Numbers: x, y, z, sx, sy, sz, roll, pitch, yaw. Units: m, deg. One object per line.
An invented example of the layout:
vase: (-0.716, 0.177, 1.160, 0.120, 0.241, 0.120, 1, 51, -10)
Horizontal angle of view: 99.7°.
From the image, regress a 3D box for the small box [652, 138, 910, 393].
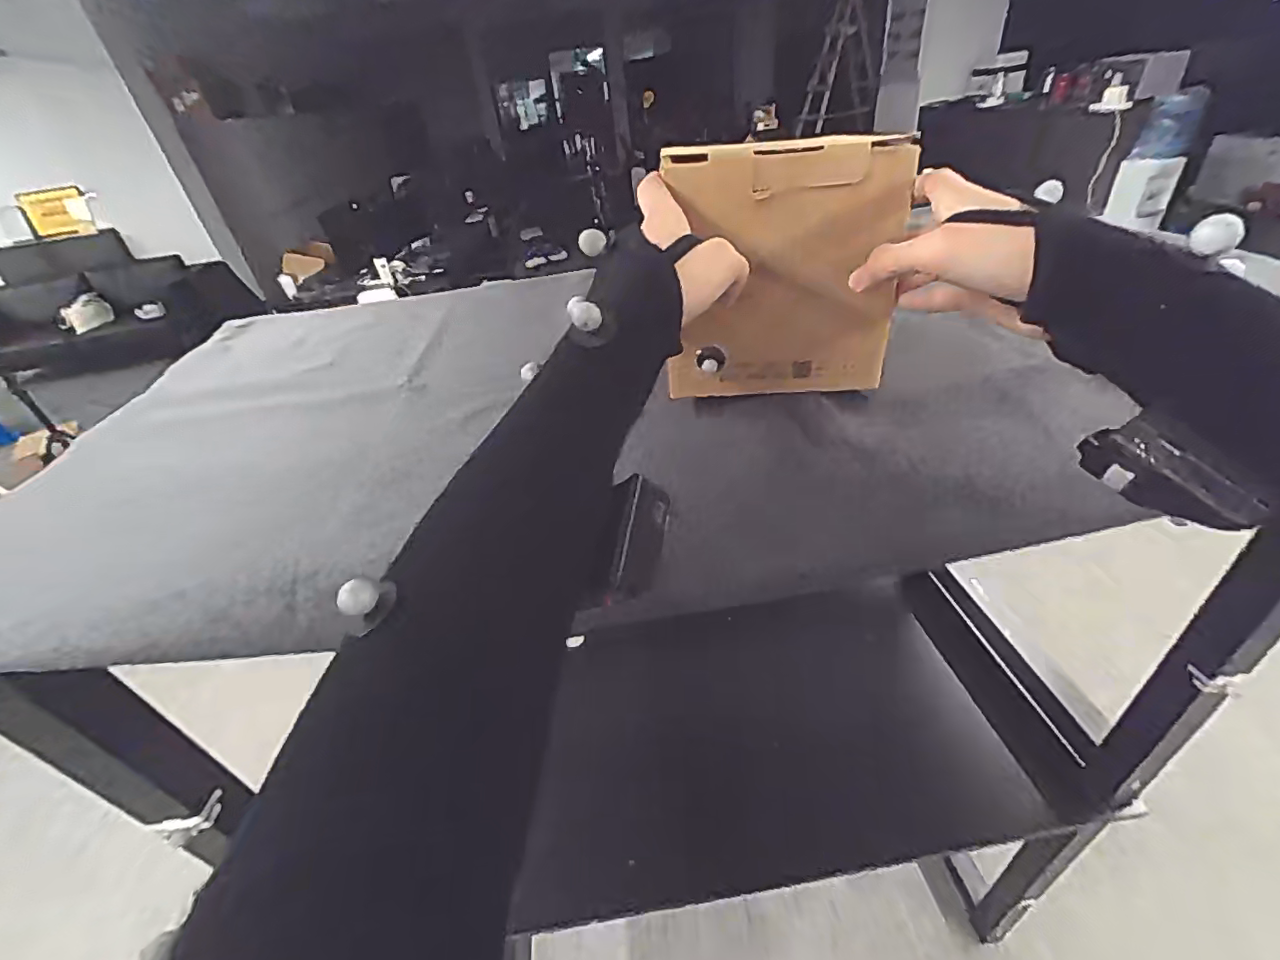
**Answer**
small box: (0.099, -0.179, 0.455, 0.168, 0.176, 0.179, -1, 33, 4)
